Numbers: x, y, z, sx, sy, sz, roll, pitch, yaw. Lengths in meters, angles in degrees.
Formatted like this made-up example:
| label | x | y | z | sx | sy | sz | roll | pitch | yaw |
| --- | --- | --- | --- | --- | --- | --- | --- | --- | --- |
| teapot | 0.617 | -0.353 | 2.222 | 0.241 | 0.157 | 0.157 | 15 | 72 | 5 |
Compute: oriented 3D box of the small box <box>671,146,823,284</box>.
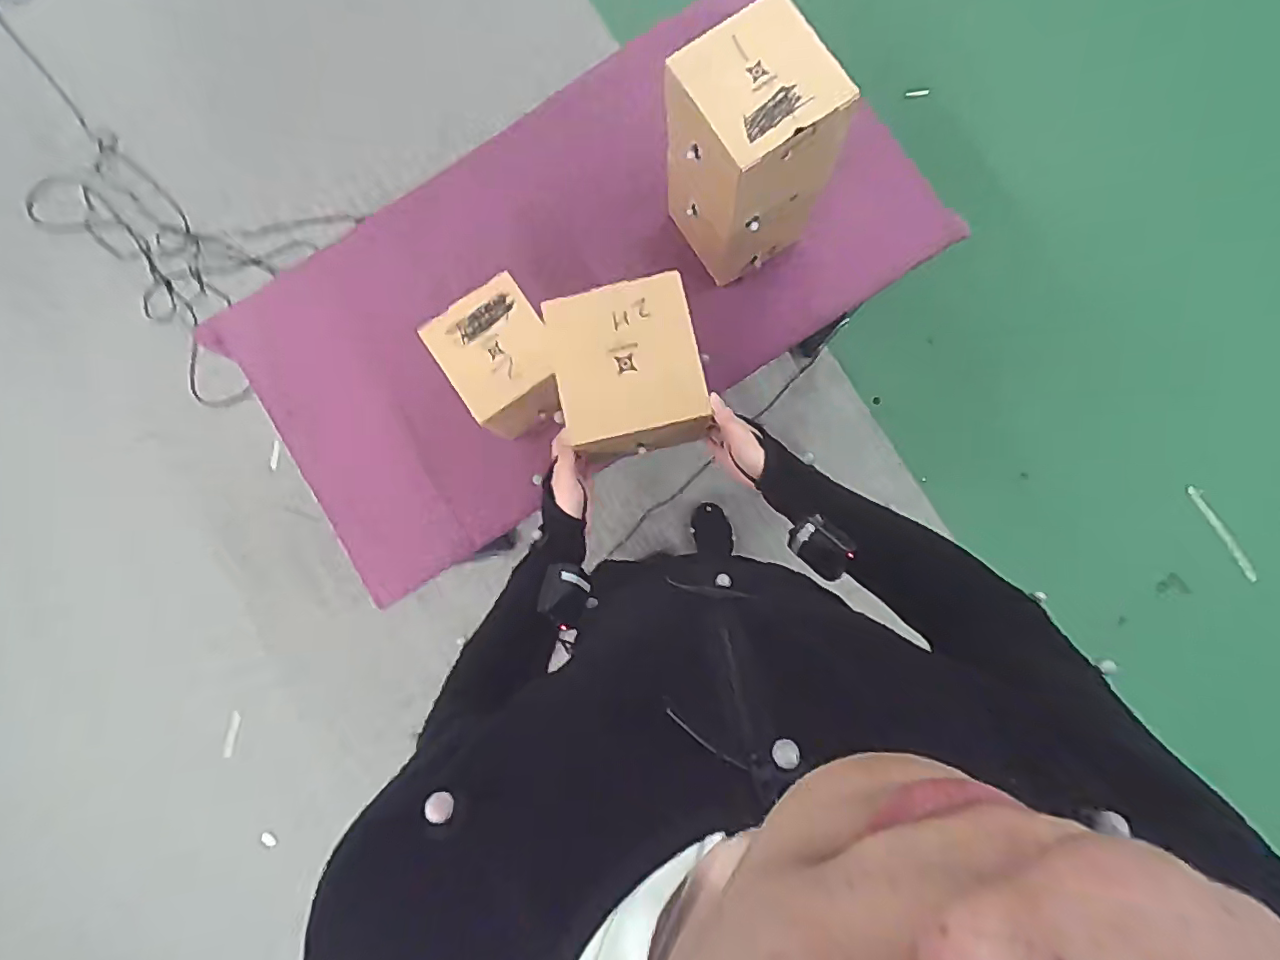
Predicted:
| label | x | y | z | sx | sy | sz | roll | pitch | yaw |
| --- | --- | --- | --- | --- | --- | --- | --- | --- | --- |
| small box | 0.162 | -0.458 | 0.878 | 0.168 | 0.176 | 0.179 | -31 | 84 | 2 |

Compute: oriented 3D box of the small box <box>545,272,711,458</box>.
| label | x | y | z | sx | sy | sz | roll | pitch | yaw |
| --- | --- | --- | --- | --- | --- | --- | --- | --- | --- |
| small box | -0.008 | -0.130 | 0.685 | 0.168 | 0.176 | 0.179 | -11 | 83 | 3 |

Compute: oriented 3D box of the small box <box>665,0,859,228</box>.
| label | x | y | z | sx | sy | sz | roll | pitch | yaw |
| --- | --- | --- | --- | --- | --- | --- | --- | --- | --- |
| small box | 0.151 | -0.468 | 0.715 | 0.168 | 0.176 | 0.179 | -32 | 82 | 2 |
